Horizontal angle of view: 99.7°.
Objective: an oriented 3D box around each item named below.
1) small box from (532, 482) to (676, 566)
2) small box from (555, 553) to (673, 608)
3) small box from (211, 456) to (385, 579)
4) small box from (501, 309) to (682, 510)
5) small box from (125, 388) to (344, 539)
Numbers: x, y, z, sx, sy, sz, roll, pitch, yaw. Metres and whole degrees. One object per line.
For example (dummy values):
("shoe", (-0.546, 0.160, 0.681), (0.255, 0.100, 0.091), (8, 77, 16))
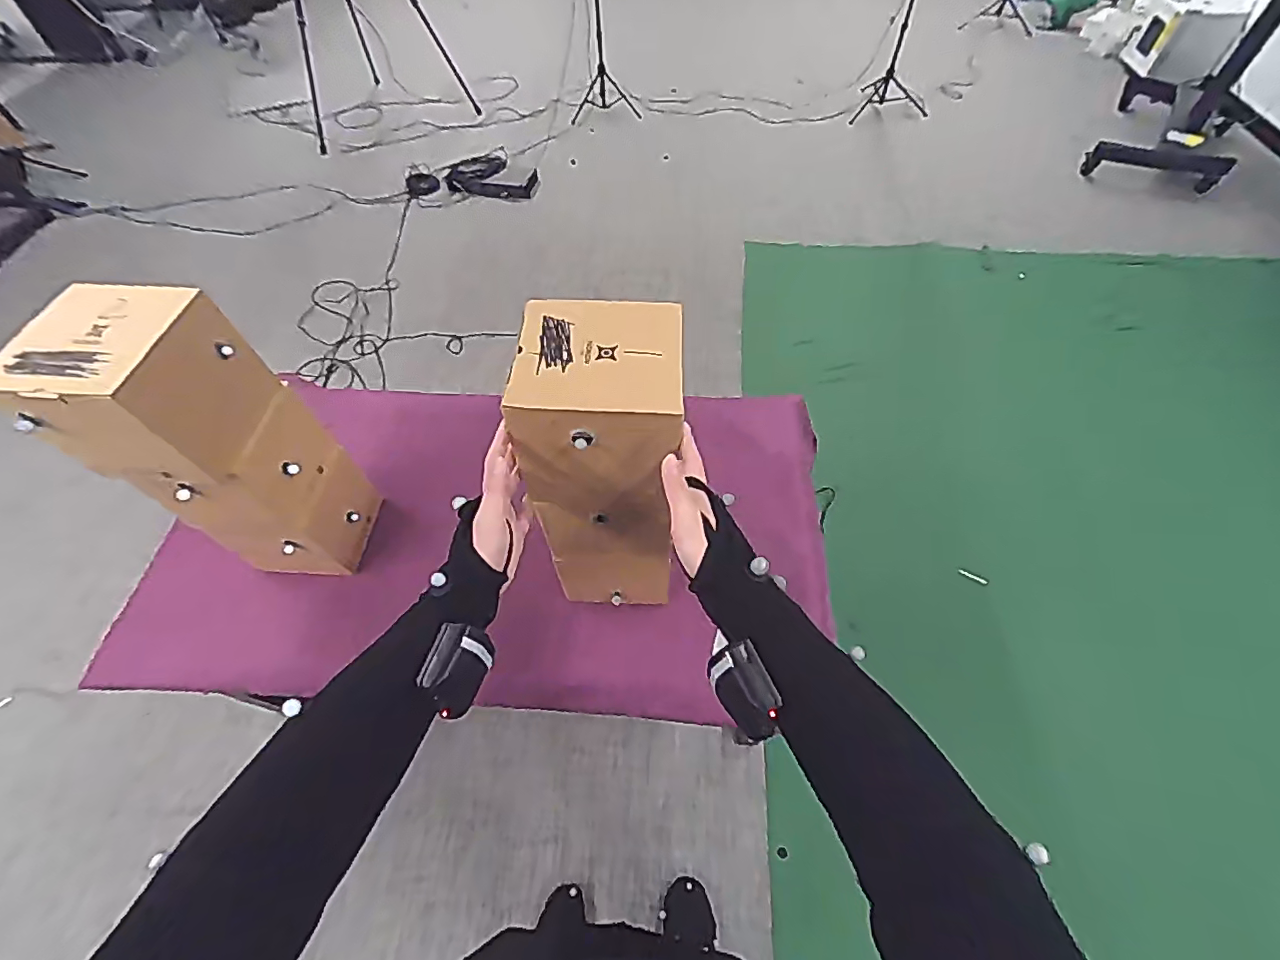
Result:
("small box", (-0.039, 0.014, 0.772), (0.179, 0.176, 0.168), (2, 57, 4))
("small box", (-0.034, 0.107, 0.907), (0.179, 0.176, 0.168), (1, 56, 3))
("small box", (-0.585, 0.067, 0.957), (0.179, 0.176, 0.168), (2, 56, 4))
("small box", (-0.043, -0.077, 0.627), (0.179, 0.176, 0.168), (2, 55, 2))
("small box", (-0.591, -0.021, 0.821), (0.179, 0.176, 0.168), (2, 57, 4))
